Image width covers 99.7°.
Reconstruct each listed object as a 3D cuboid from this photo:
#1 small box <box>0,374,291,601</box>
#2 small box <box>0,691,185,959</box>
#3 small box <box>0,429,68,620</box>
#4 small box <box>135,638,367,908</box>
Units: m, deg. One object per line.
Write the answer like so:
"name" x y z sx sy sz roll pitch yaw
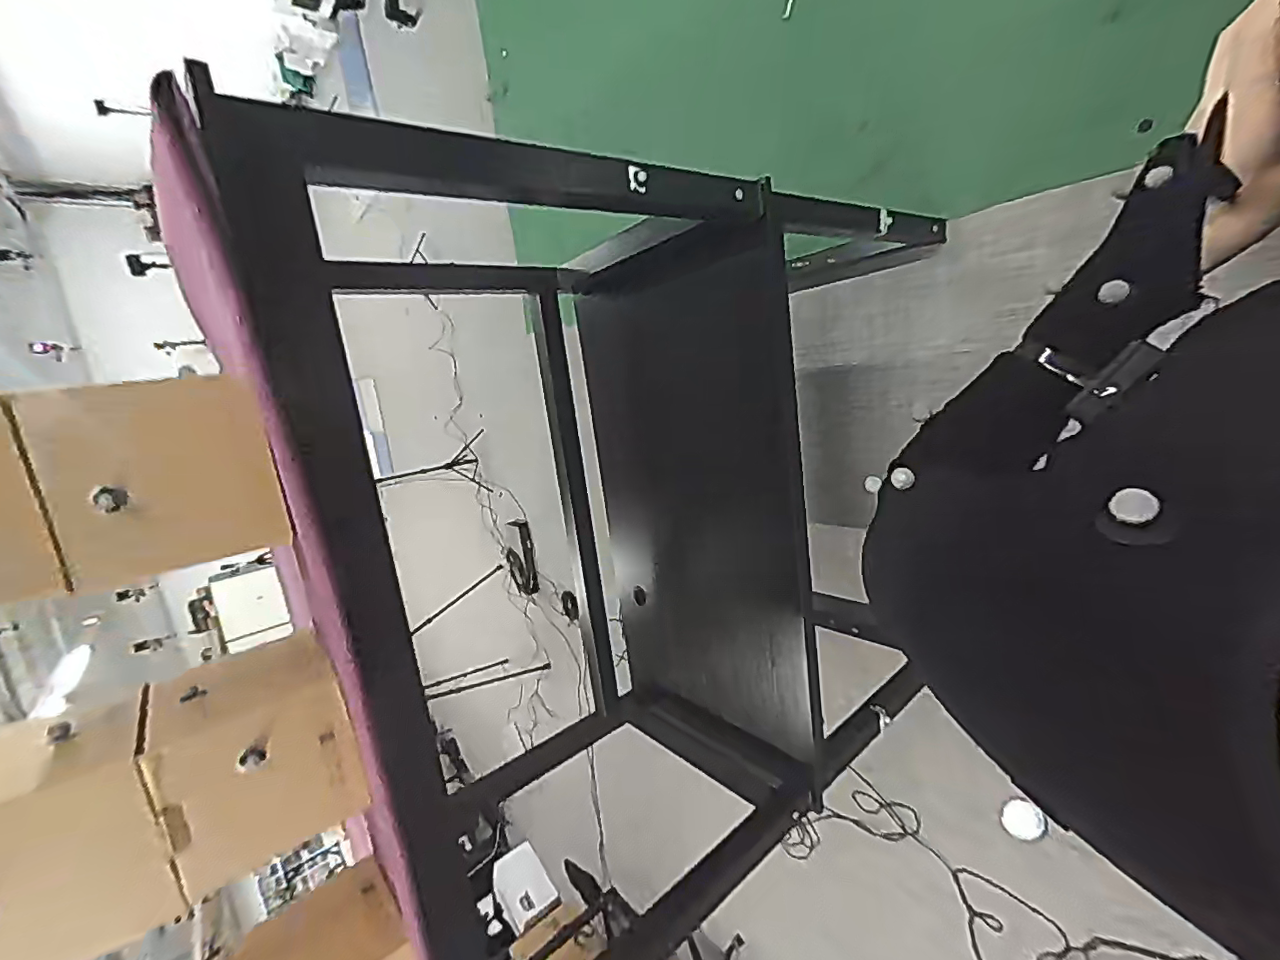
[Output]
"small box" -0.475 -0.005 0.549 0.168 0.176 0.179 5 107 53
"small box" -0.547 0.336 0.503 0.168 0.176 0.179 8 108 49
"small box" -0.605 0.035 0.460 0.168 0.176 0.179 6 108 53
"small box" -0.421 0.299 0.603 0.179 0.176 0.168 8 108 51
